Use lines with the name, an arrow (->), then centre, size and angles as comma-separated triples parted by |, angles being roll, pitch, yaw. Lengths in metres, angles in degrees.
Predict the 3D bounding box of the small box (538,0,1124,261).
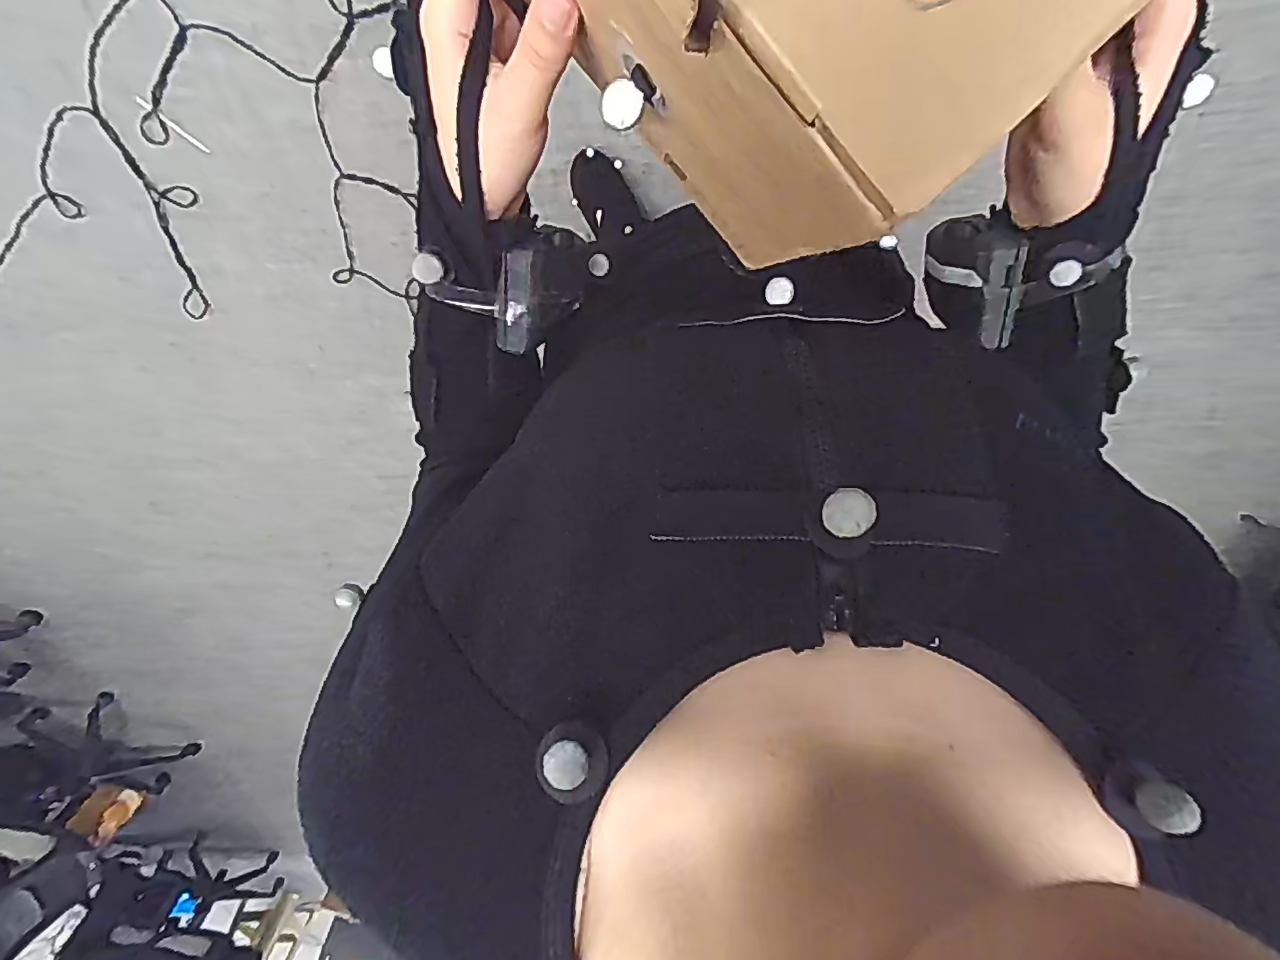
small box -> 0.062, -0.193, 0.174 | 0.179, 0.176, 0.168 | -43, 103, 14
